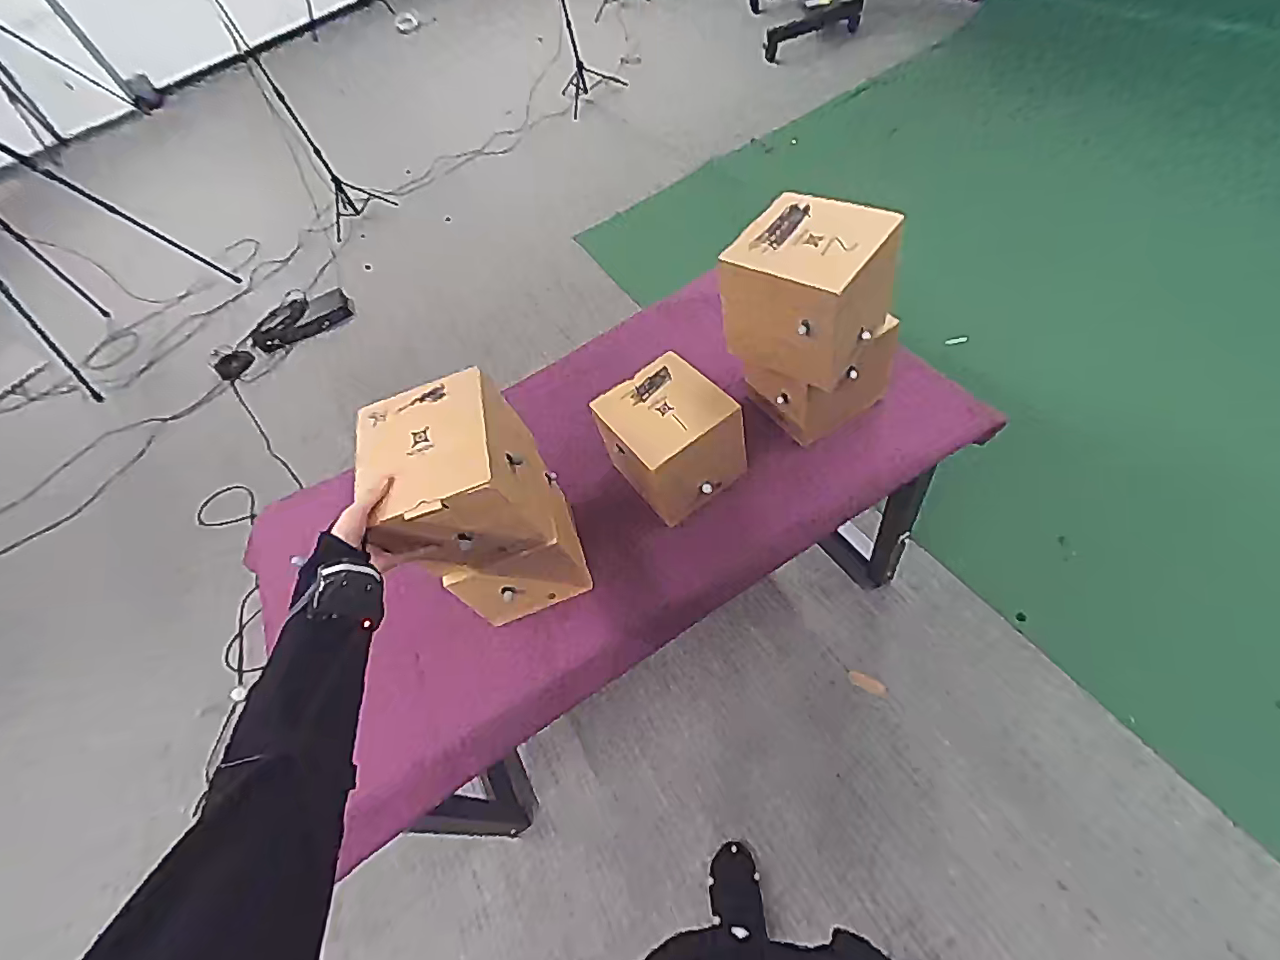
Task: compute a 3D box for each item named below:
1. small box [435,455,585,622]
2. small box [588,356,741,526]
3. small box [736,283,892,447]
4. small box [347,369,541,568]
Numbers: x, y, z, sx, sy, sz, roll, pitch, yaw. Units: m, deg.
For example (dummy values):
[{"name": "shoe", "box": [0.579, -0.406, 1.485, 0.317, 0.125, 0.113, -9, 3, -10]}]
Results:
[{"name": "small box", "box": [-0.197, 0.097, 0.823, 0.168, 0.176, 0.179, -21, 52, -1]}, {"name": "small box", "box": [0.044, -0.059, 0.871, 0.168, 0.176, 0.179, -35, 55, -11]}, {"name": "small box", "box": [0.283, -0.185, 0.899, 0.179, 0.176, 0.168, -30, 53, -8]}, {"name": "small box", "box": [-0.238, -0.001, 0.682, 0.168, 0.176, 0.179, -19, 61, 5]}]
